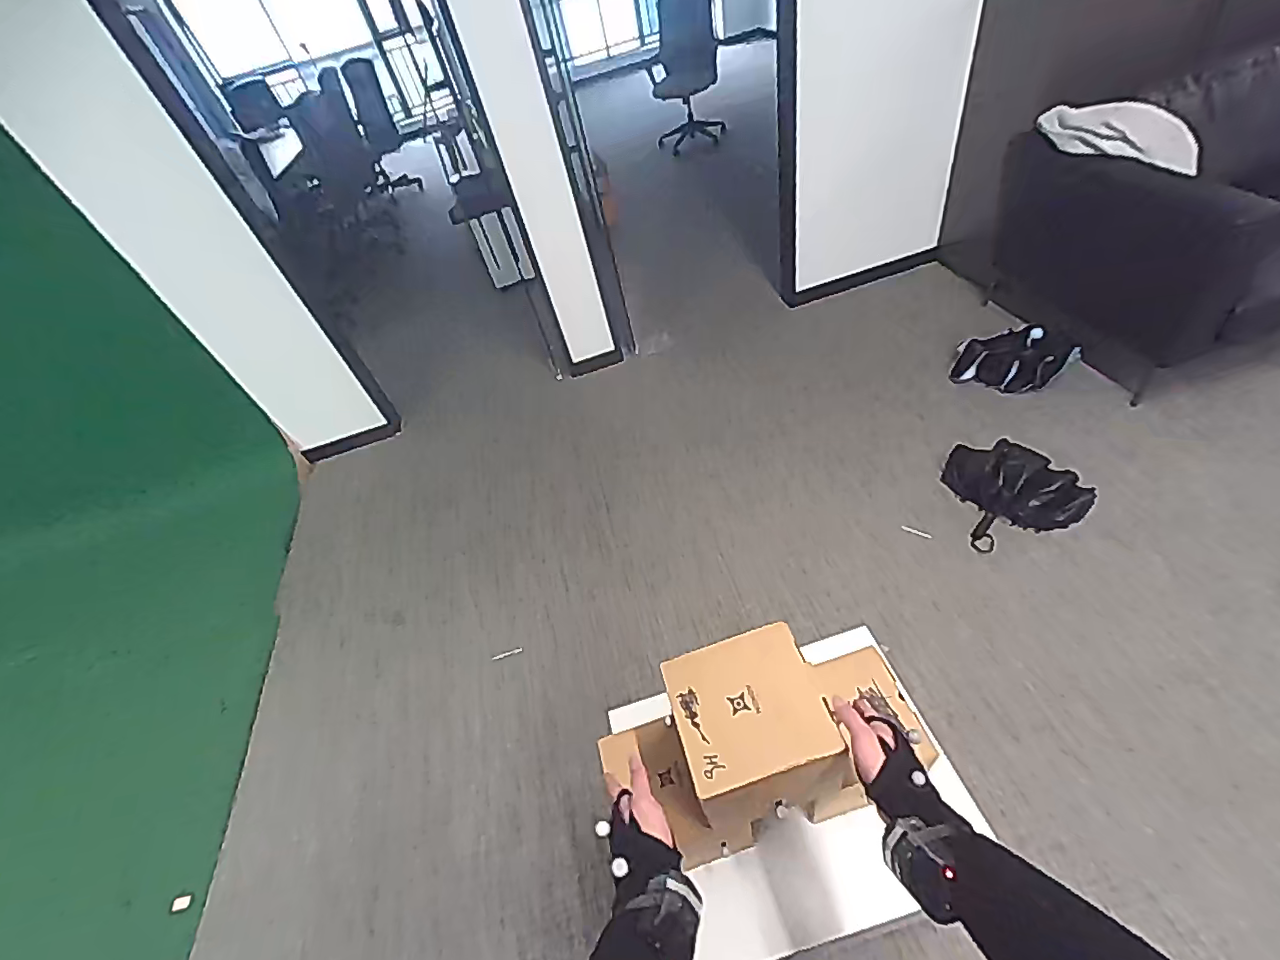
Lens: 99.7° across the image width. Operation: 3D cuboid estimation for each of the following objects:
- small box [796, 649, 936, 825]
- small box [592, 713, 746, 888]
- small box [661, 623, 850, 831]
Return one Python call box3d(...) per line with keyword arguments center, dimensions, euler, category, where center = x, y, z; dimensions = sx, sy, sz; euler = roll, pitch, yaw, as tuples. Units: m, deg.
box3d(center=(0.297, 0.385, 0.808), dimensions=(0.179, 0.176, 0.168), euler=(-17, 45, -2), category="small box")
box3d(center=(0.044, 0.463, 0.792), dimensions=(0.179, 0.176, 0.168), euler=(-18, 44, -5), category="small box")
box3d(center=(0.137, 0.314, 0.685), dimensions=(0.179, 0.176, 0.168), euler=(-16, 45, -3), category="small box")
